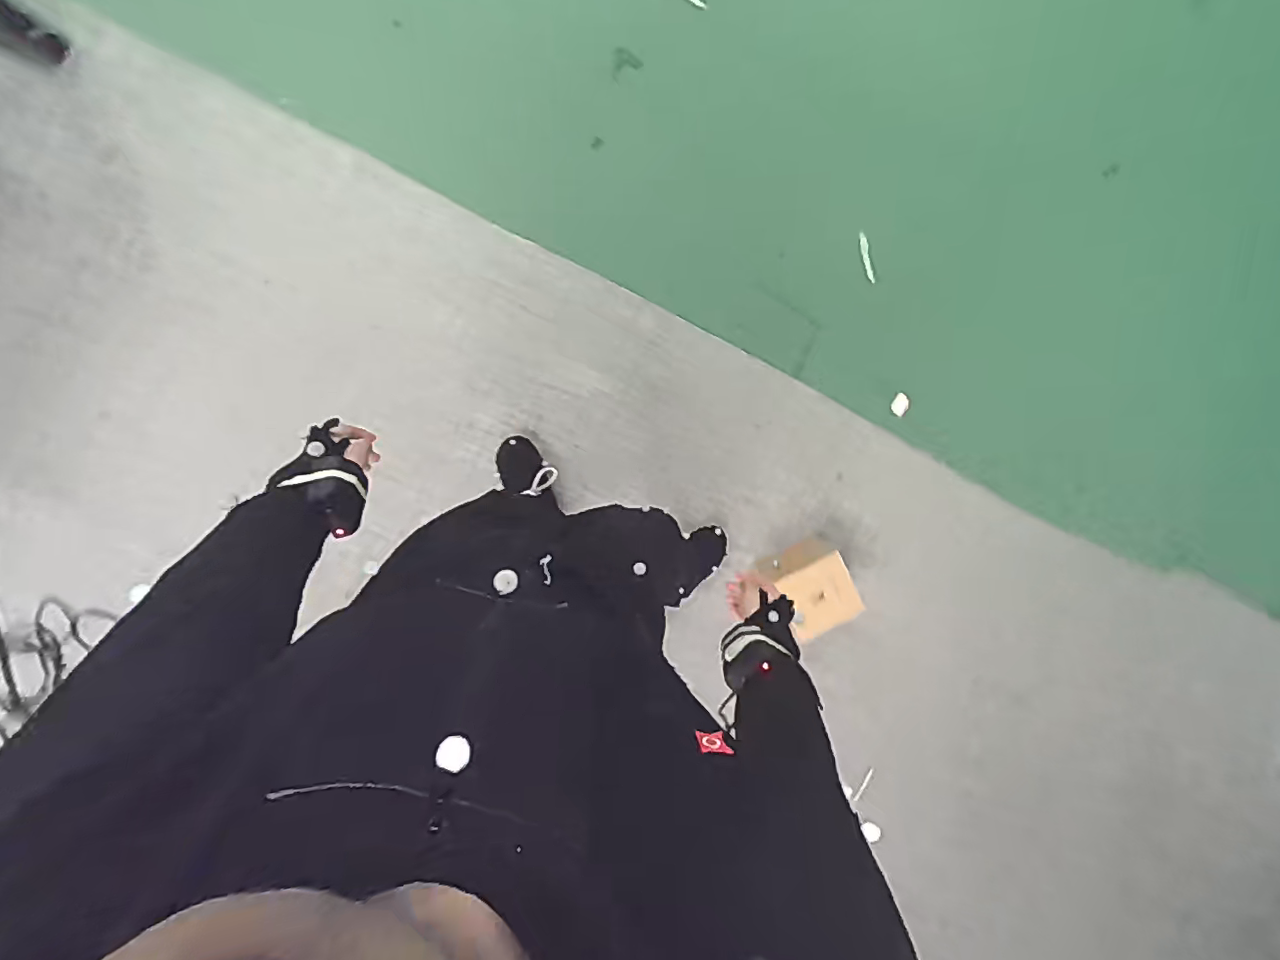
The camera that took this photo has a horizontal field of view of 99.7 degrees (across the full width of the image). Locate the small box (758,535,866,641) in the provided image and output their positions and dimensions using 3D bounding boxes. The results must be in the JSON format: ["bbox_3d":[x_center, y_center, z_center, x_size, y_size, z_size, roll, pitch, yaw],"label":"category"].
[{"bbox_3d":[0.406,0.256,1.318,0.179,0.176,0.168,-28,99,-1],"label":"small box"}]
